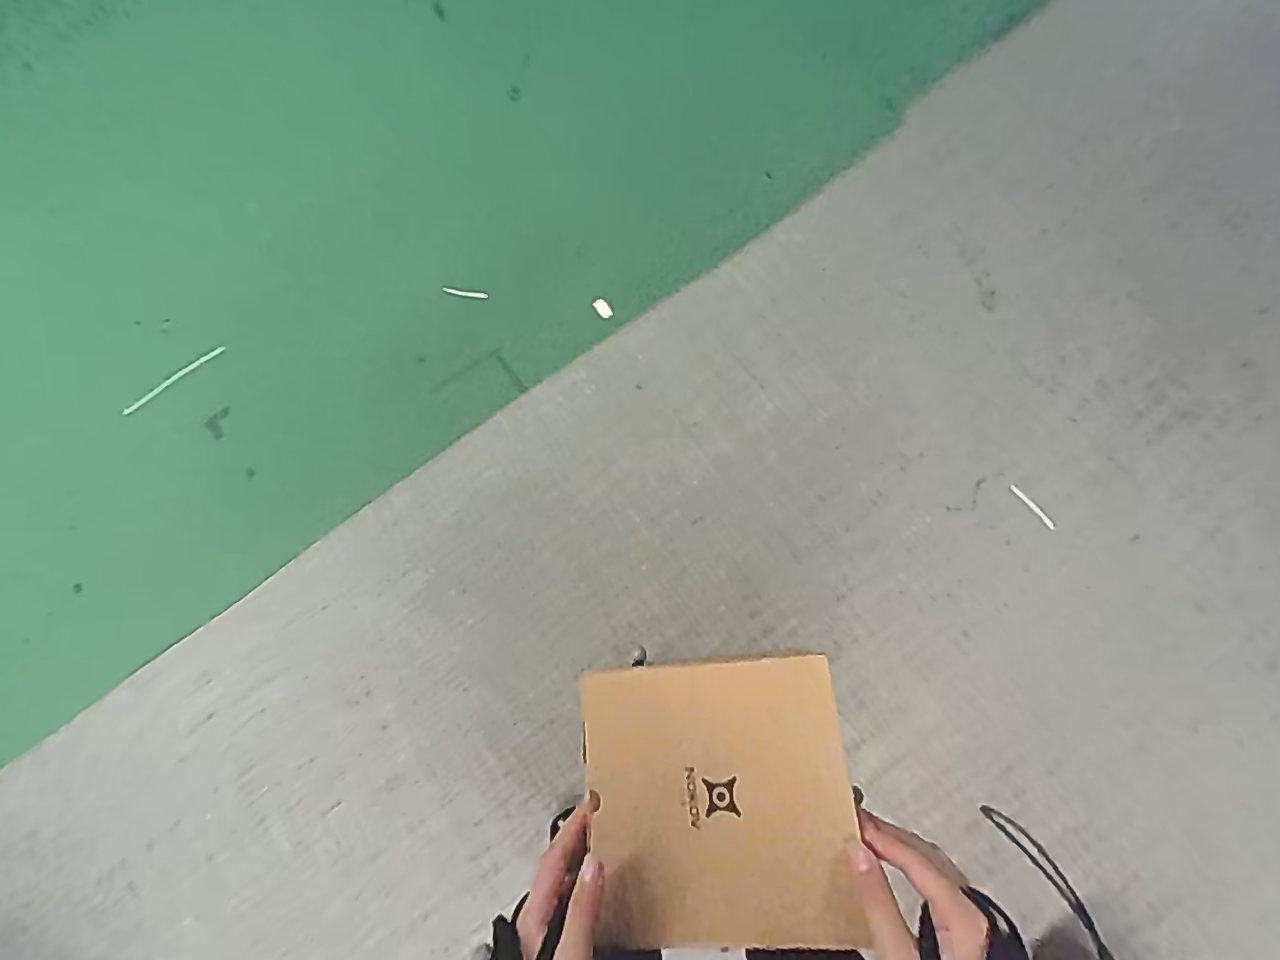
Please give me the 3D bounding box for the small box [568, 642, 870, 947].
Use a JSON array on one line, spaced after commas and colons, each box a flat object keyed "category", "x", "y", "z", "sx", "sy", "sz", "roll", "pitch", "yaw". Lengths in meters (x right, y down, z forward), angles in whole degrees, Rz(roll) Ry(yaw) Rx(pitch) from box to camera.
[{"category": "small box", "x": 0.055, "y": 0.219, "z": 0.419, "sx": 0.179, "sy": 0.176, "sz": 0.168, "roll": -8, "pitch": 73, "yaw": 8}]
